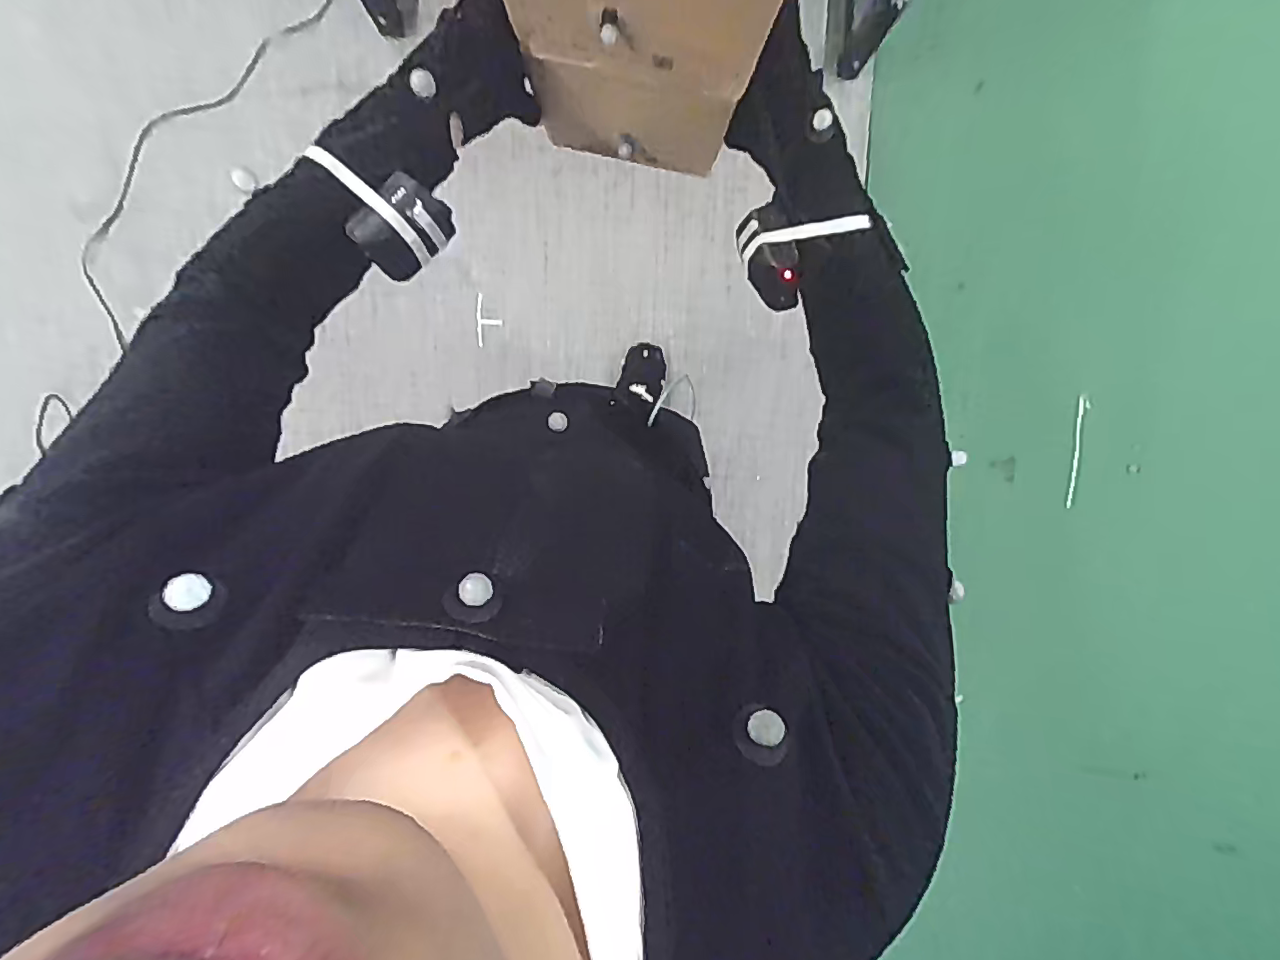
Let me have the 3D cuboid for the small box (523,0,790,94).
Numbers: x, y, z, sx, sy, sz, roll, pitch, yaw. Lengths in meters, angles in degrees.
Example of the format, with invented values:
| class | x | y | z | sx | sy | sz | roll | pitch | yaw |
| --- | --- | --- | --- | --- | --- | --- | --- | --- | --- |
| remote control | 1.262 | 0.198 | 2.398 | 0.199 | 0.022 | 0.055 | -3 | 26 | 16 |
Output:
| class | x | y | z | sx | sy | sz | roll | pitch | yaw |
| --- | --- | --- | --- | --- | --- | --- | --- | --- | --- |
| small box | 0.015 | -0.359 | 0.293 | 0.168 | 0.176 | 0.179 | 9 | 102 | -4 |

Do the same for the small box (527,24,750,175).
| class | x | y | z | sx | sy | sz | roll | pitch | yaw |
| --- | --- | --- | --- | --- | --- | --- | --- | --- | --- |
| small box | 0.012 | -0.391 | 0.454 | 0.168 | 0.176 | 0.179 | 11 | 103 | -3 |
